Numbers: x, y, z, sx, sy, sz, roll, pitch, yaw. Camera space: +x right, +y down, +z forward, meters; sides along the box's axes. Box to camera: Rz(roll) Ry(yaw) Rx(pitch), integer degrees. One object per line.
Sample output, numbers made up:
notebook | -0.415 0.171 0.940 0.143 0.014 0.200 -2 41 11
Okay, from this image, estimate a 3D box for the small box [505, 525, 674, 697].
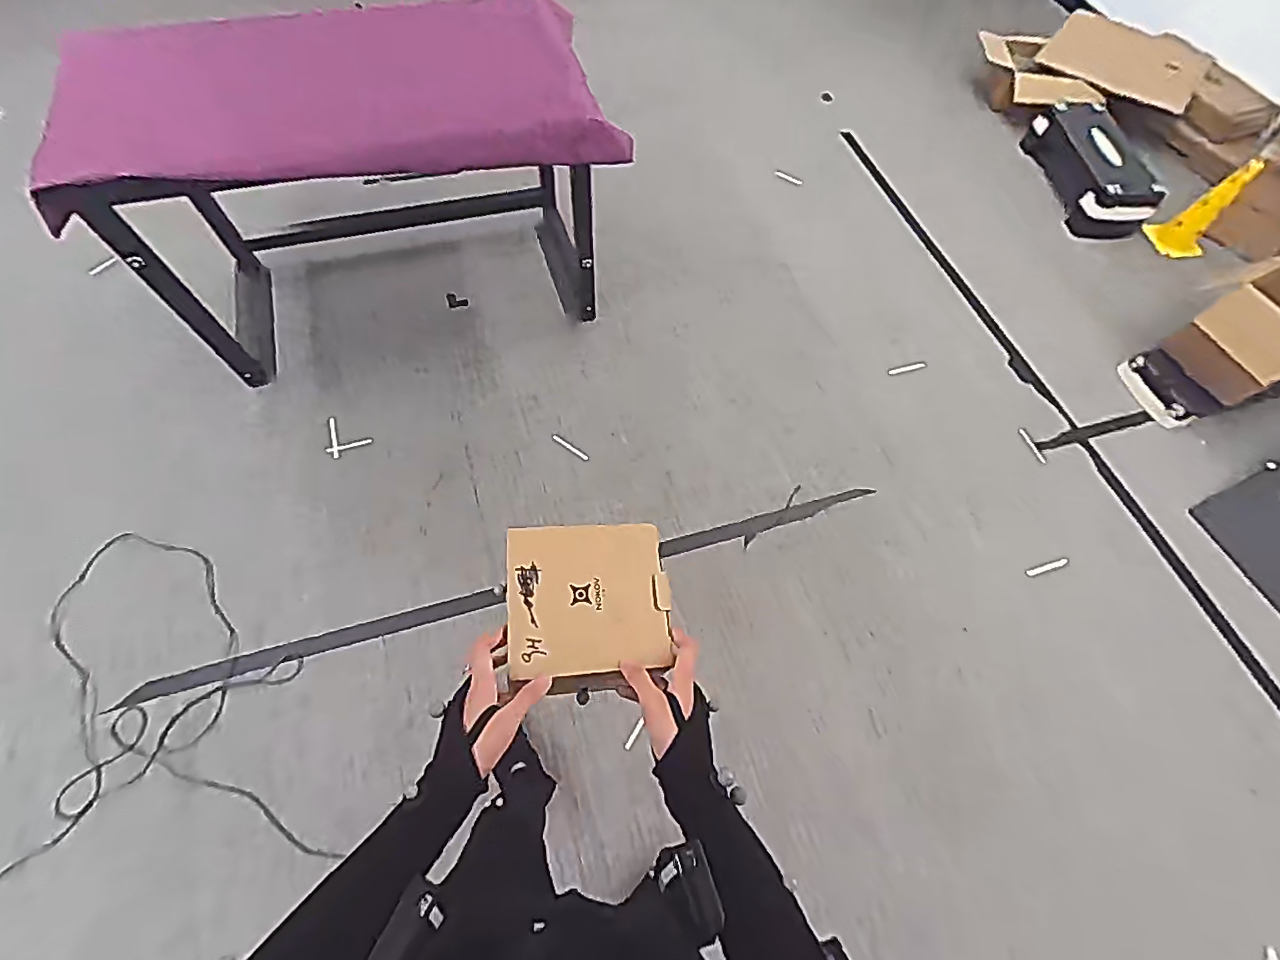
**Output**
small box | -0.072 0.162 0.656 0.179 0.176 0.168 0 62 -13
